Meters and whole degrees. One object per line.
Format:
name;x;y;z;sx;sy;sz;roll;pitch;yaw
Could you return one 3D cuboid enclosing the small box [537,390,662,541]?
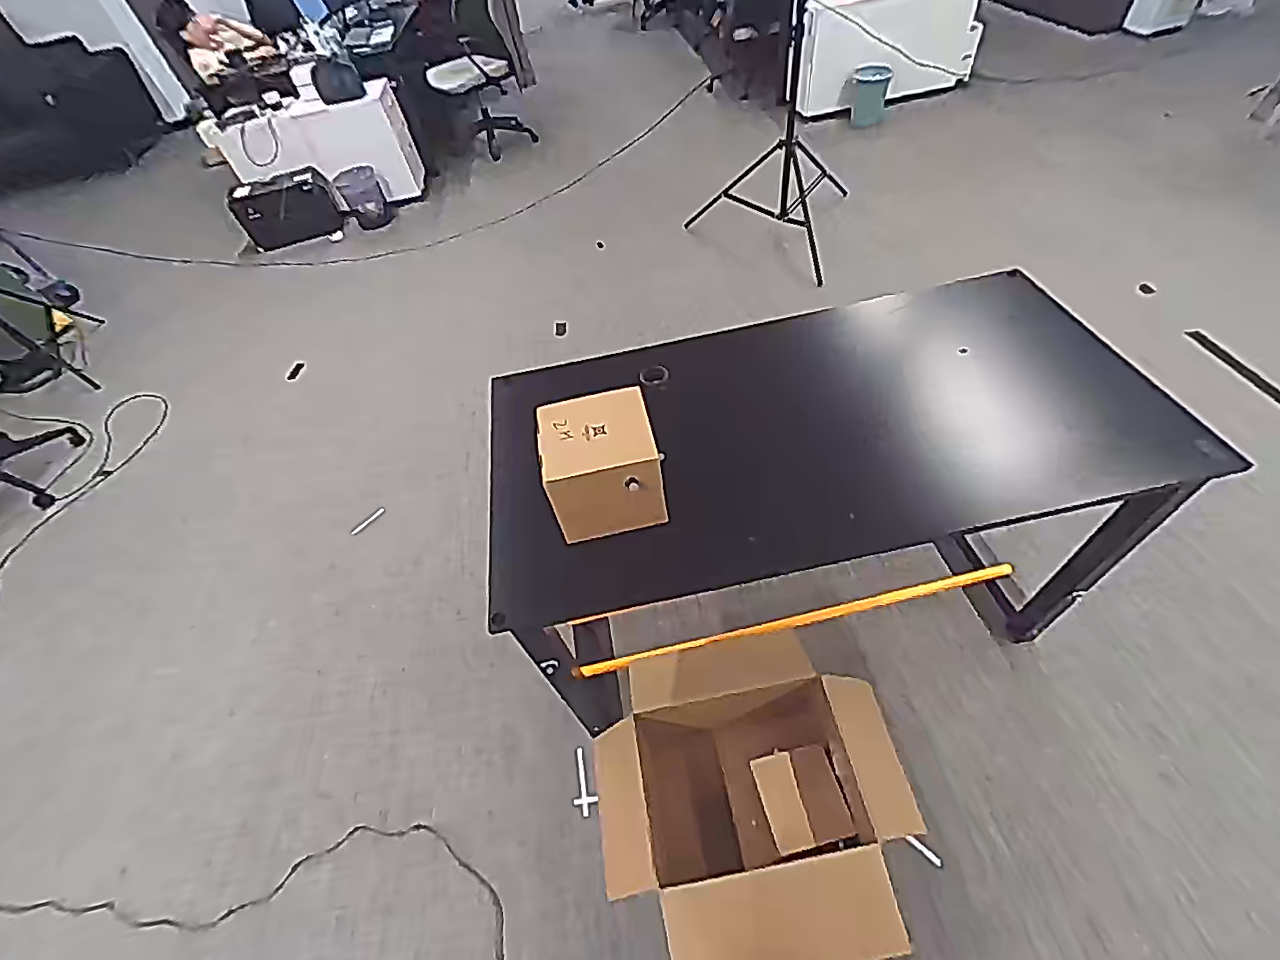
small box;-0.063;-0.021;0.900;0.179;0.176;0.168;-12;50;-1
